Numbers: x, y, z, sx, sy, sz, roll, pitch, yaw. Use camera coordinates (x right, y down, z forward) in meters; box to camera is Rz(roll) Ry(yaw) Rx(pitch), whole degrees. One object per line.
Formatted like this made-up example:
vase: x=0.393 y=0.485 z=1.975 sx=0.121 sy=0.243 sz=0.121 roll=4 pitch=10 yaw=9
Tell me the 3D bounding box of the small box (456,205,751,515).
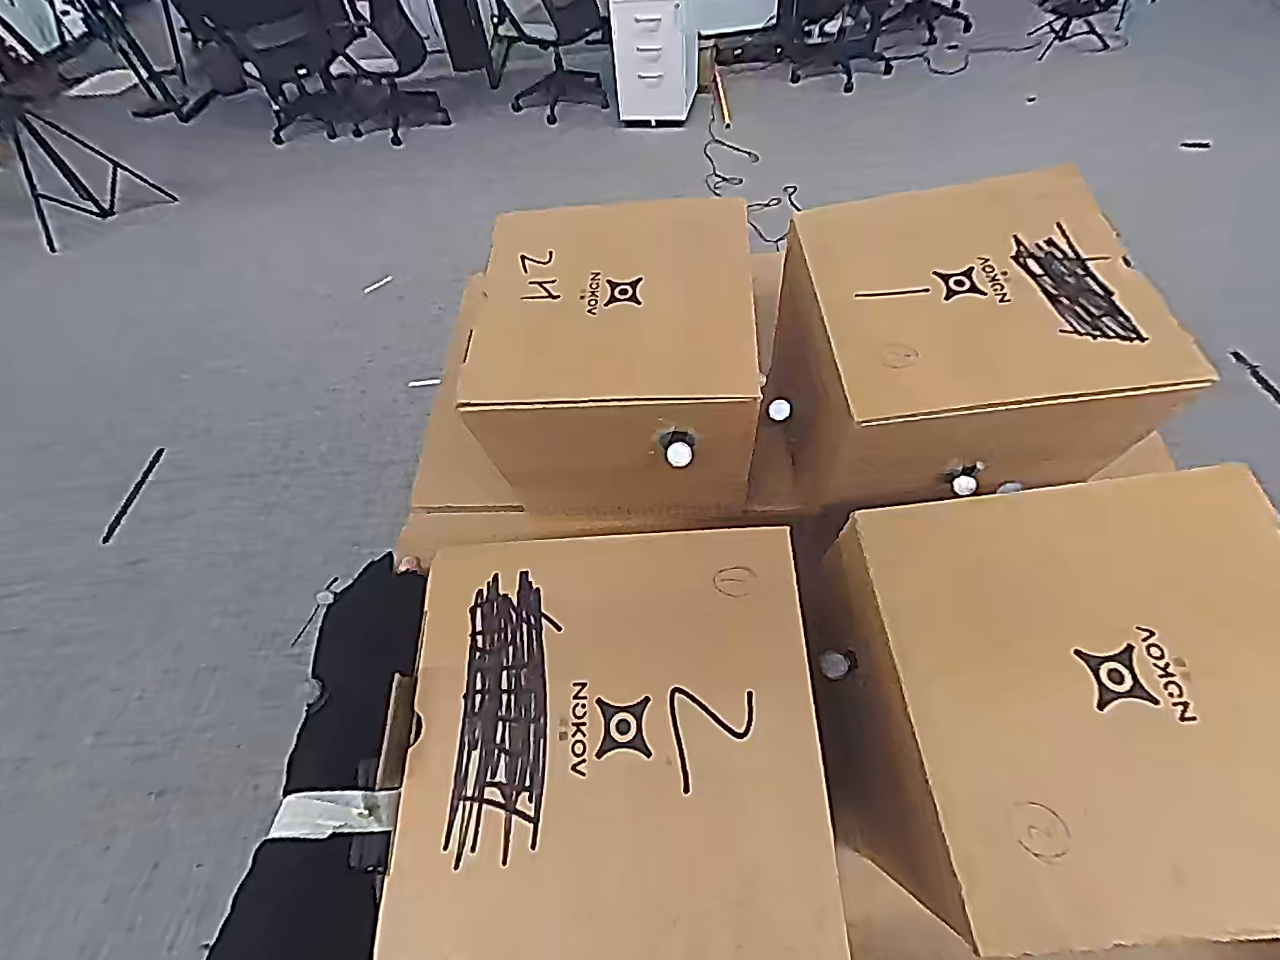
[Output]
small box: x=-0.011 y=-0.080 z=0.418 sx=0.179 sy=0.176 sz=0.168 roll=0 pitch=62 yaw=8
